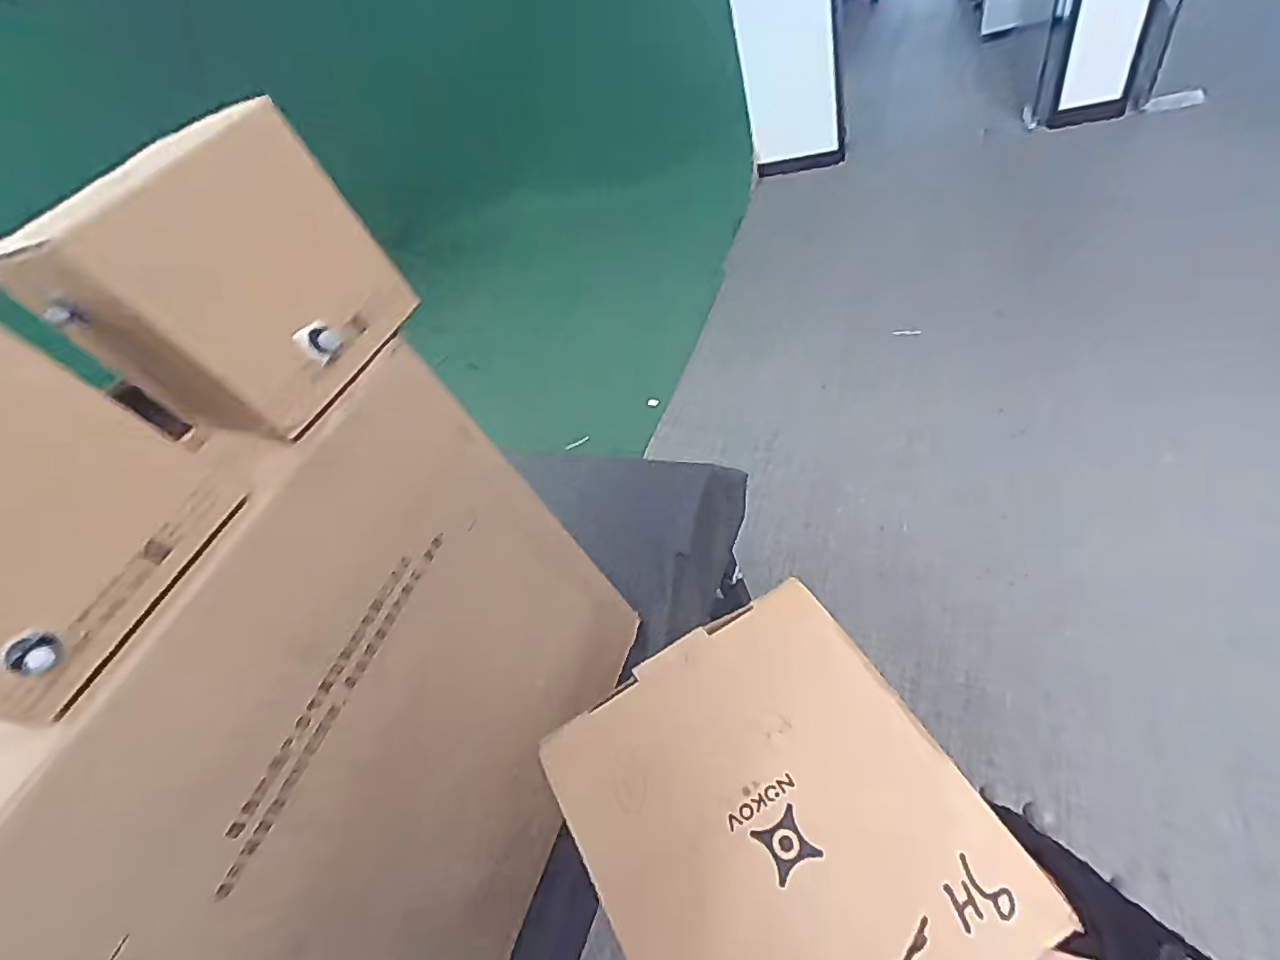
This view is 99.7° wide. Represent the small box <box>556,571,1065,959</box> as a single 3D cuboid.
[{"bbox_3d":[0.074,0.191,0.319,0.168,0.176,0.179,-29,58,-9],"label":"small box"}]

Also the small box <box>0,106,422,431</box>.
[{"bbox_3d":[-0.321,-0.156,0.432,0.179,0.176,0.168,9,58,28],"label":"small box"}]
